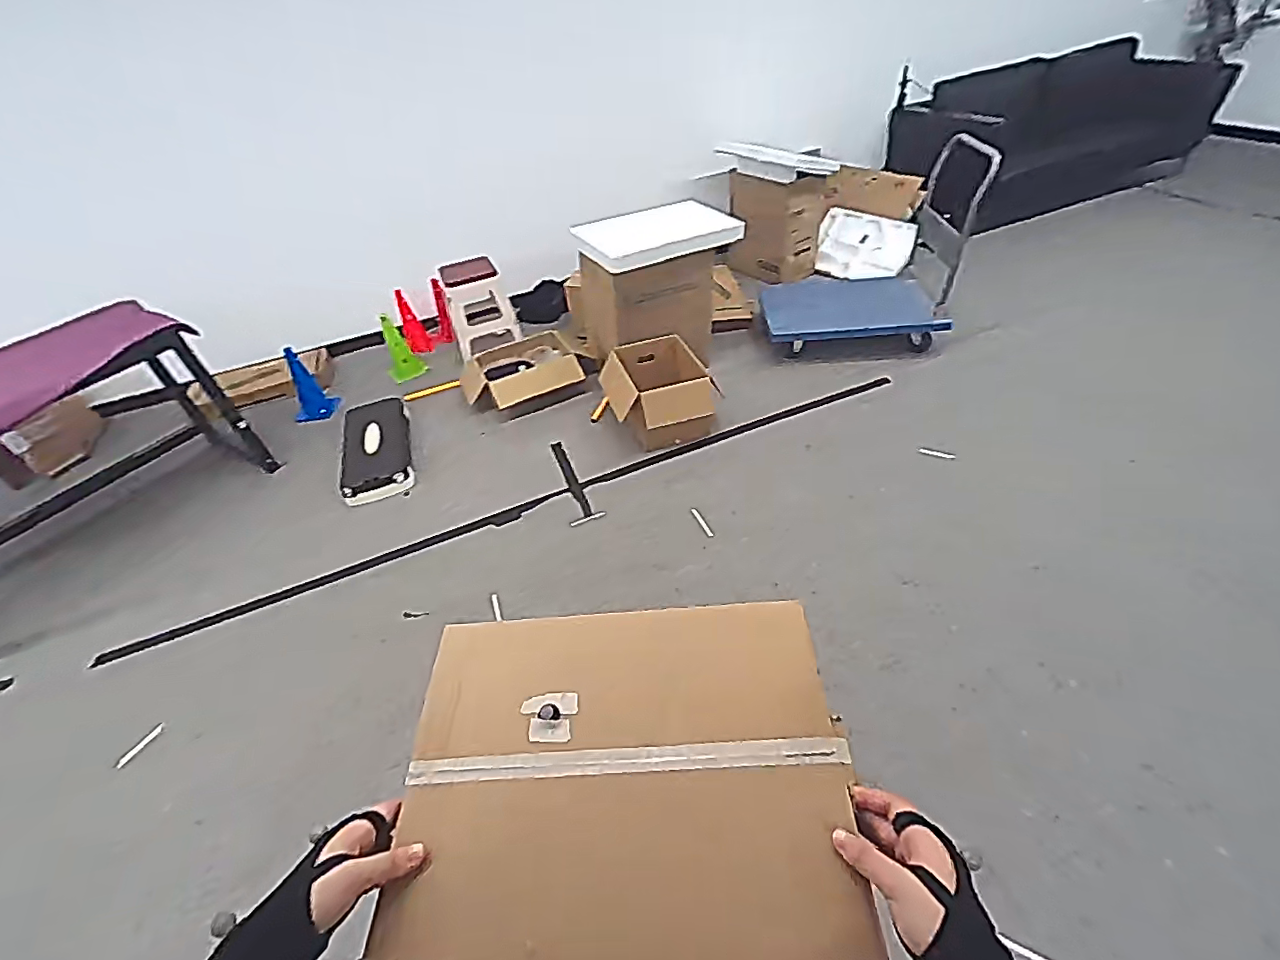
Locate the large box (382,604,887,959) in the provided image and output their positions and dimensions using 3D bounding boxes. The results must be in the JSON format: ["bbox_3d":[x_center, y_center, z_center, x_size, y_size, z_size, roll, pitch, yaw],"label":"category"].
[{"bbox_3d":[0.007,0.371,0.619,0.408,0.320,0.320,-7,45,6],"label":"large box"}]
